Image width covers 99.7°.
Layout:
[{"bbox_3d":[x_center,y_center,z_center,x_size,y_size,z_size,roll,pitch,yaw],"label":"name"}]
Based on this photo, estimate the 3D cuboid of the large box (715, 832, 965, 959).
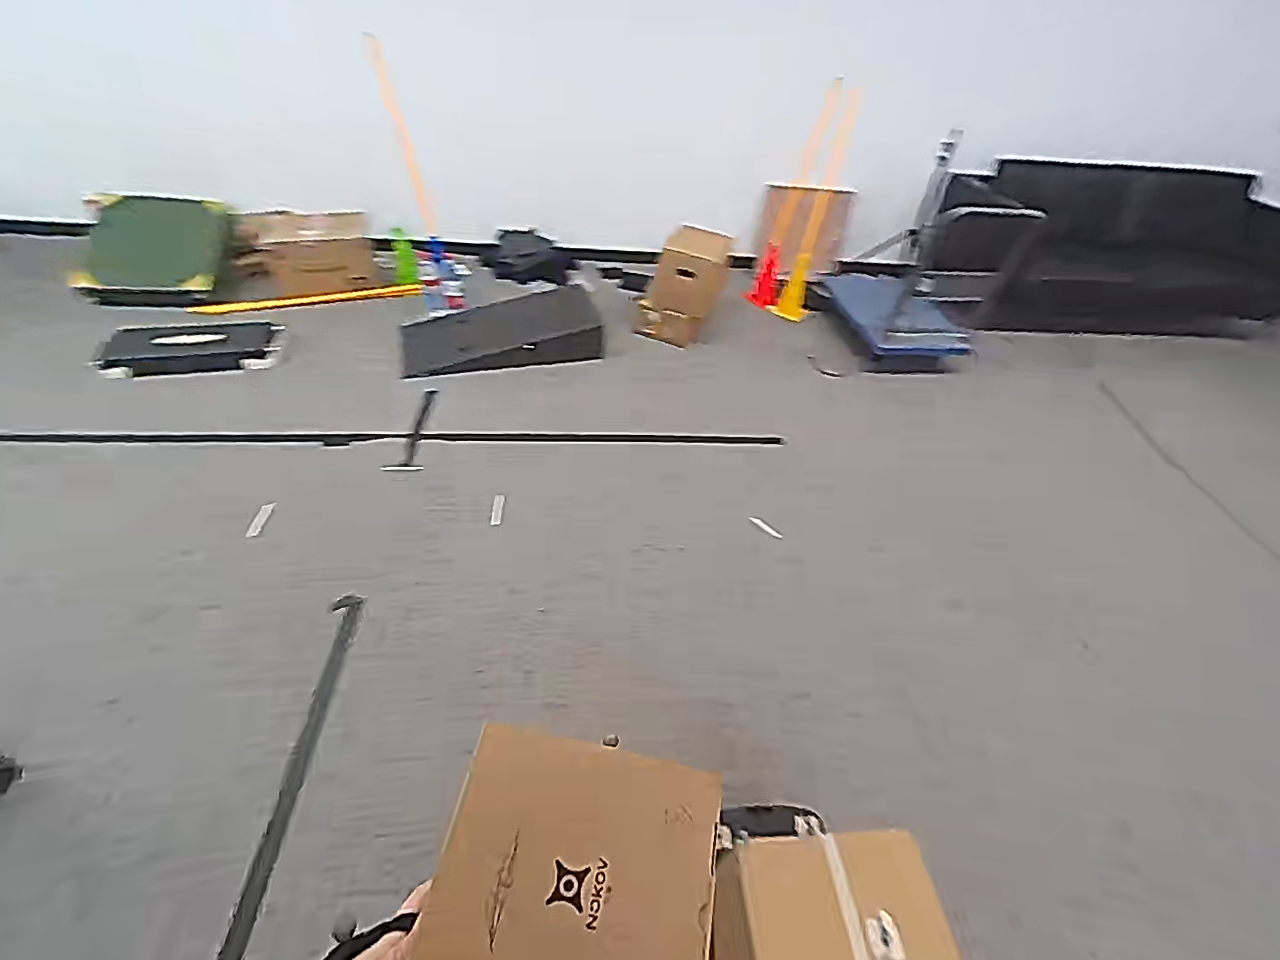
[{"bbox_3d":[0.318,0.838,0.850,0.320,0.320,0.408,1,42,-6],"label":"large box"}]
